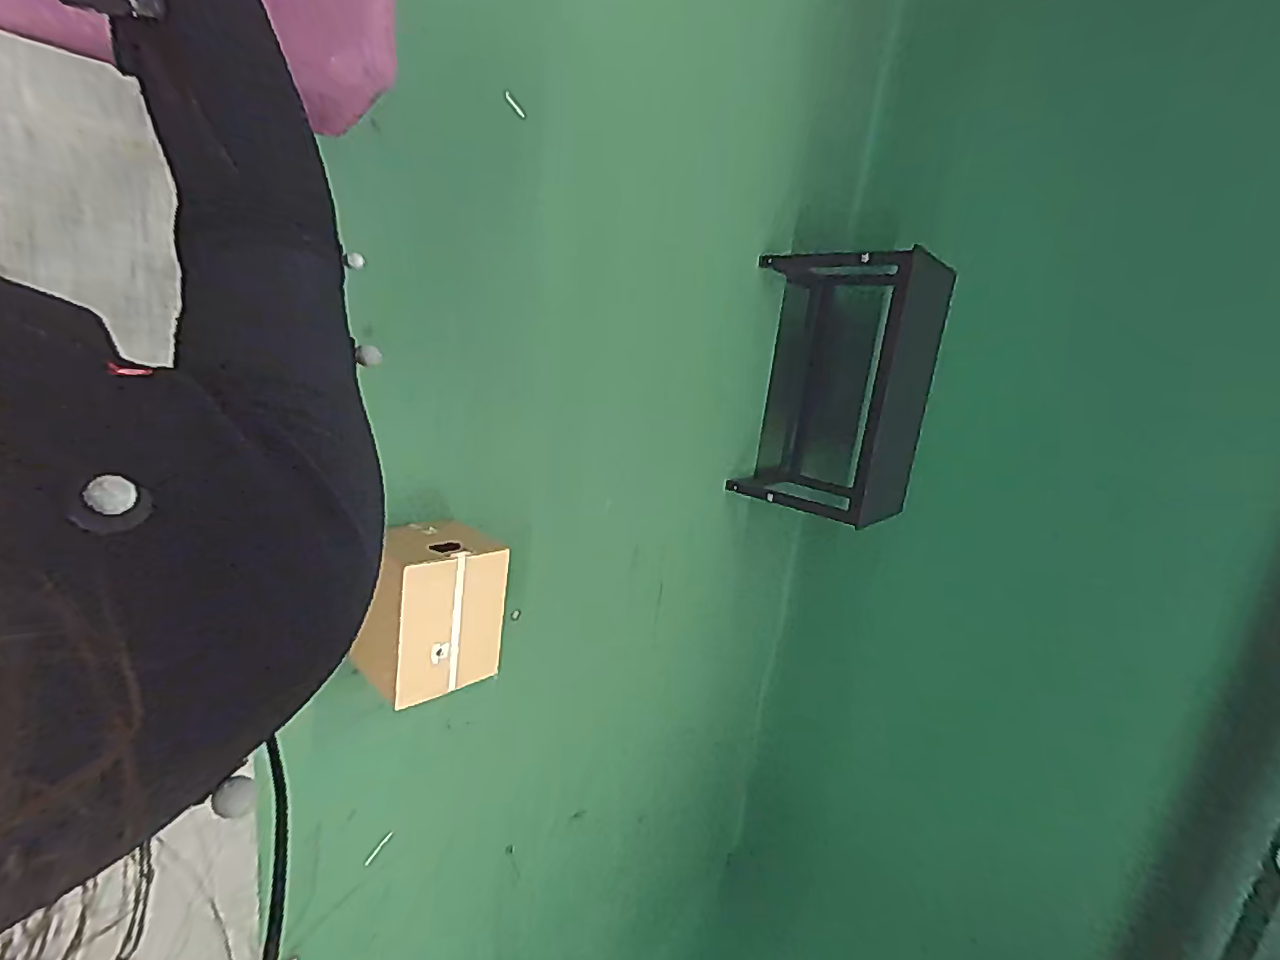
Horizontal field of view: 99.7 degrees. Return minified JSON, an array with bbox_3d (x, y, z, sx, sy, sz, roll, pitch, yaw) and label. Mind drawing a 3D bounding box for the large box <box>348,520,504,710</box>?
[{"bbox_3d":[-0.623,0.360,1.562,0.320,0.320,0.408,-4,107,-48],"label":"large box"}]
